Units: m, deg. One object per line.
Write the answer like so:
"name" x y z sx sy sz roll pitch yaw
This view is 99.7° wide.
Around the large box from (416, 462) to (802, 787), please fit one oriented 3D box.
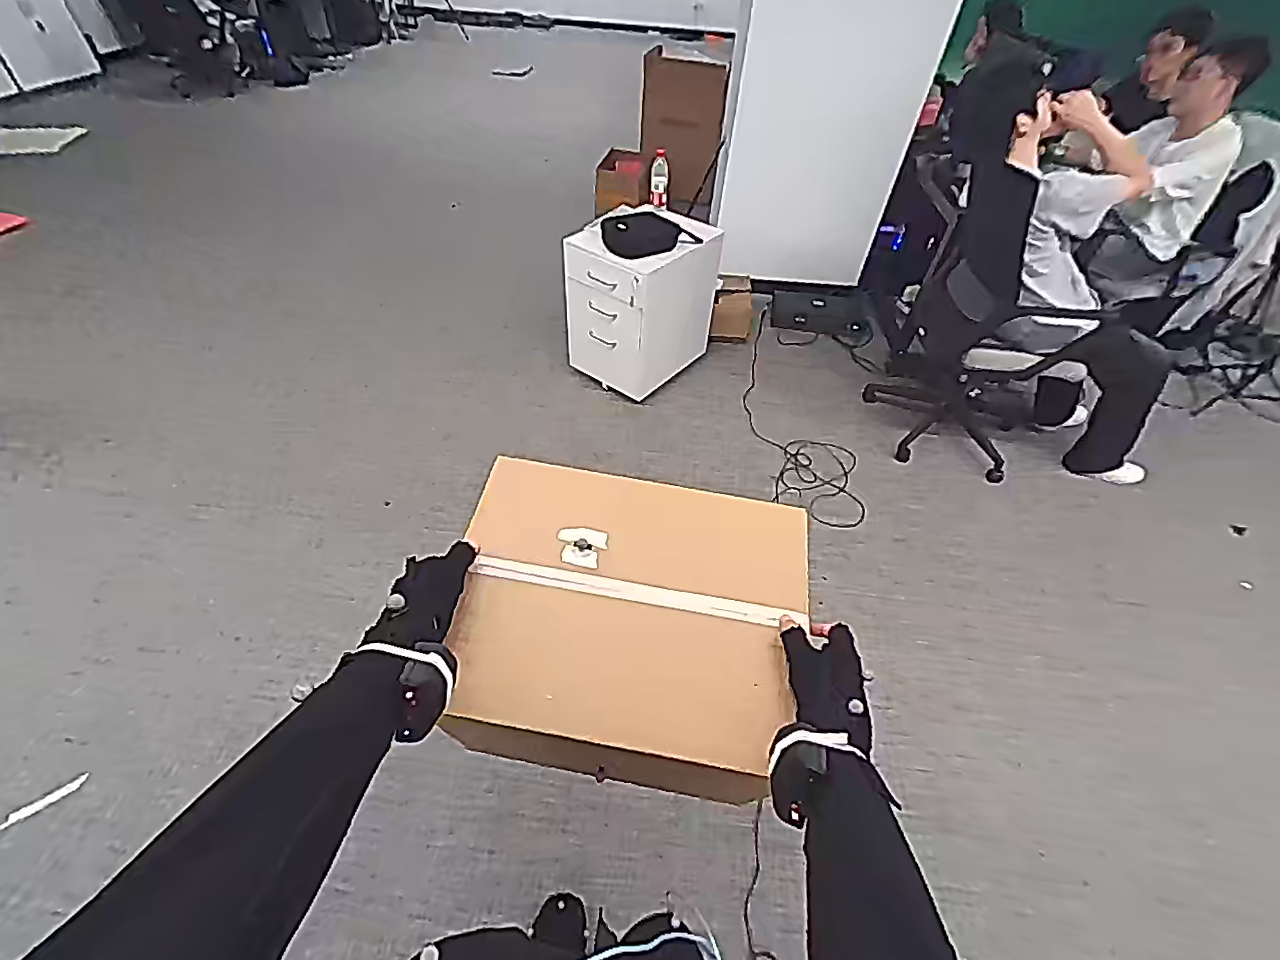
"large box" -0.018 0.212 0.748 0.408 0.320 0.320 10 55 3
